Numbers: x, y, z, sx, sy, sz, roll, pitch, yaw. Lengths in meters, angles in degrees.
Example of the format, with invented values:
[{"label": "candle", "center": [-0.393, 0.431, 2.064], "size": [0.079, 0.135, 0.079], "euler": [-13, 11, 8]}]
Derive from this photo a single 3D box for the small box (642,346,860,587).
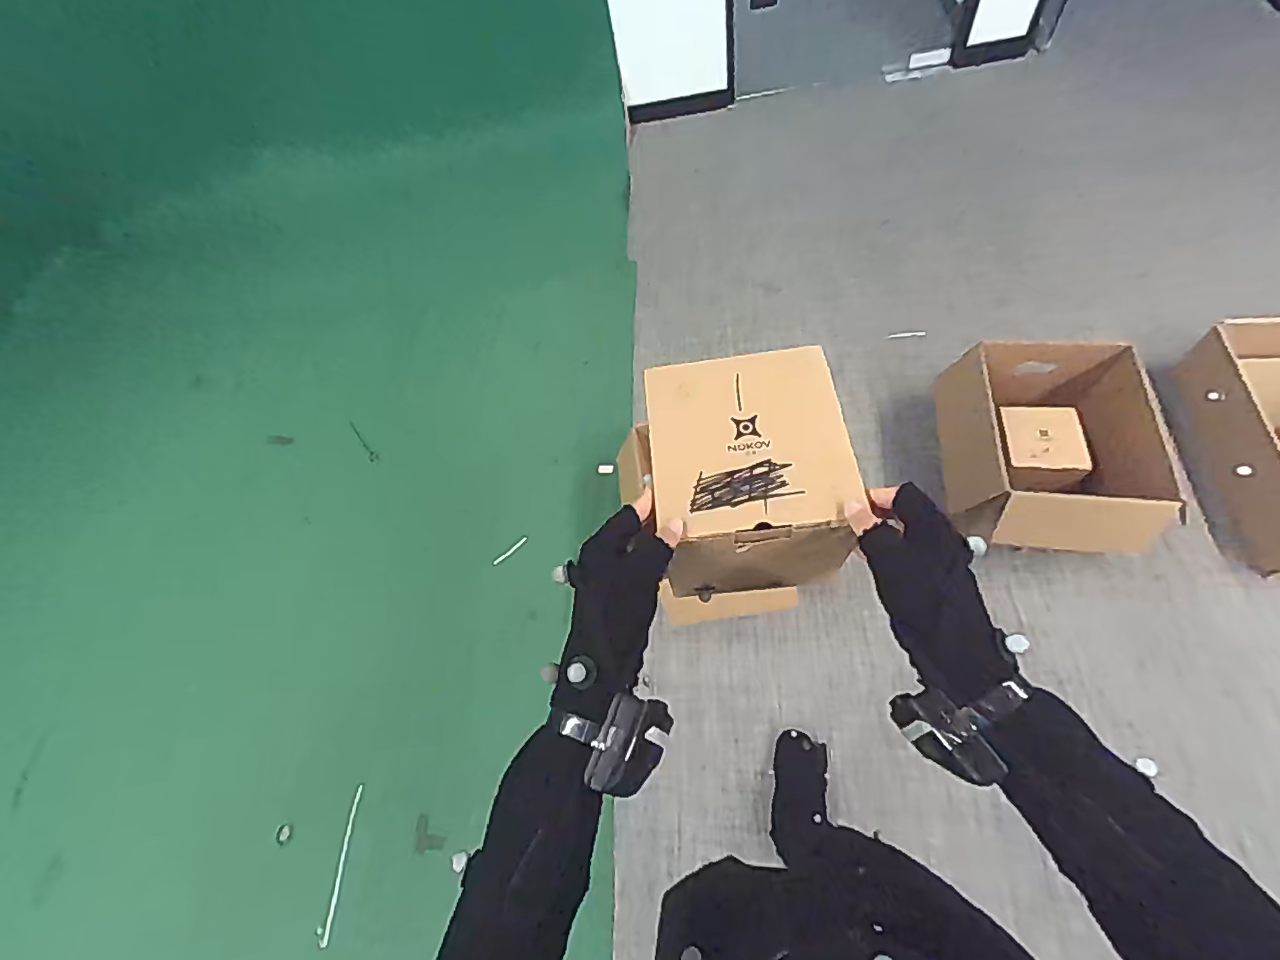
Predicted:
[{"label": "small box", "center": [0.099, -0.001, 0.532], "size": [0.168, 0.176, 0.179], "euler": [-7, 61, 5]}]
